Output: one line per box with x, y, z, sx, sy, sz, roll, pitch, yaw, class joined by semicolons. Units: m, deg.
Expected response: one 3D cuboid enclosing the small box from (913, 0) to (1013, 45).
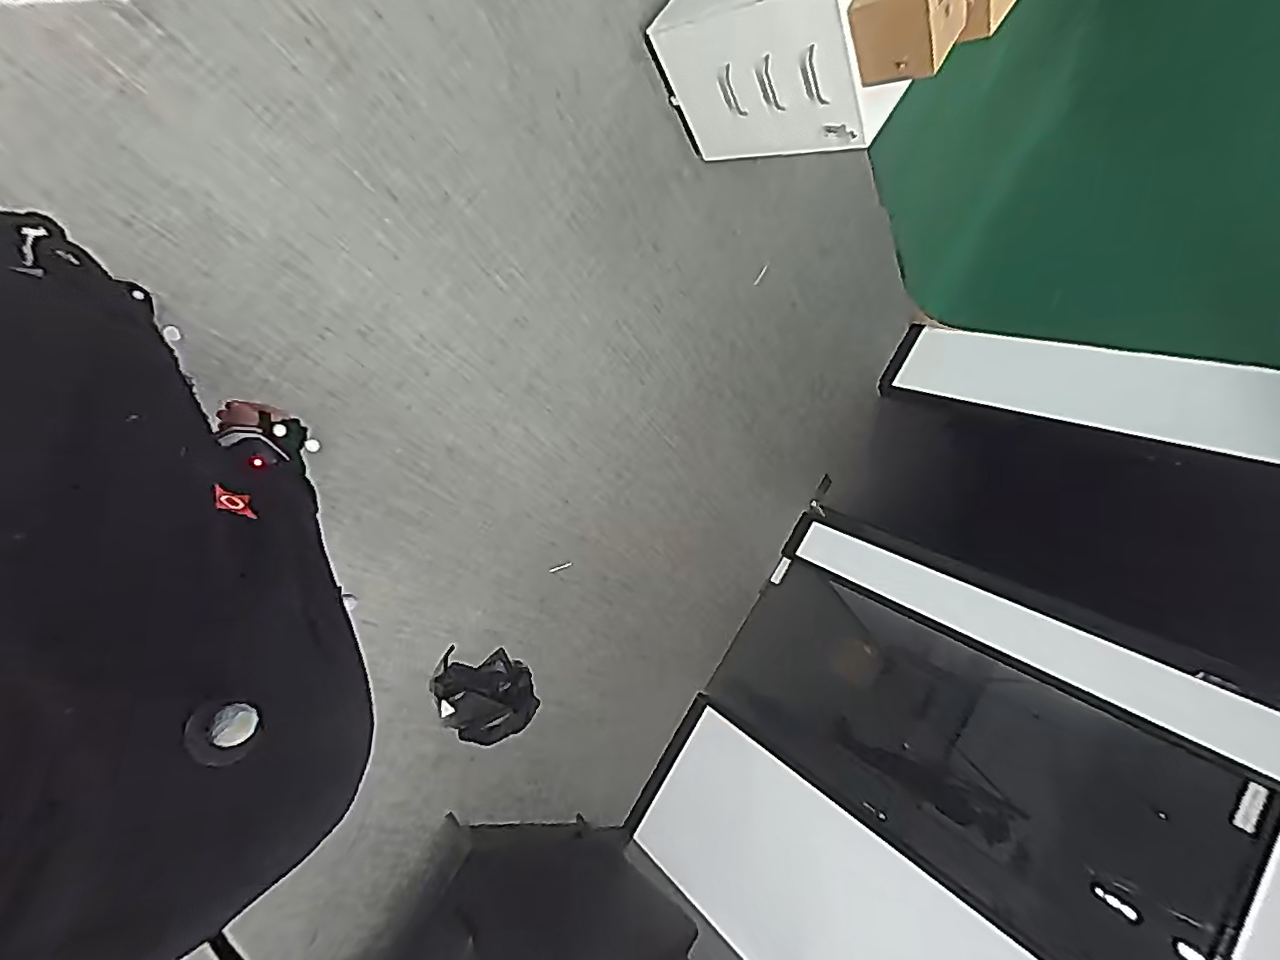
0.785;-1.202;1.314;0.168;0.176;0.179;-54;137;-11;small box
